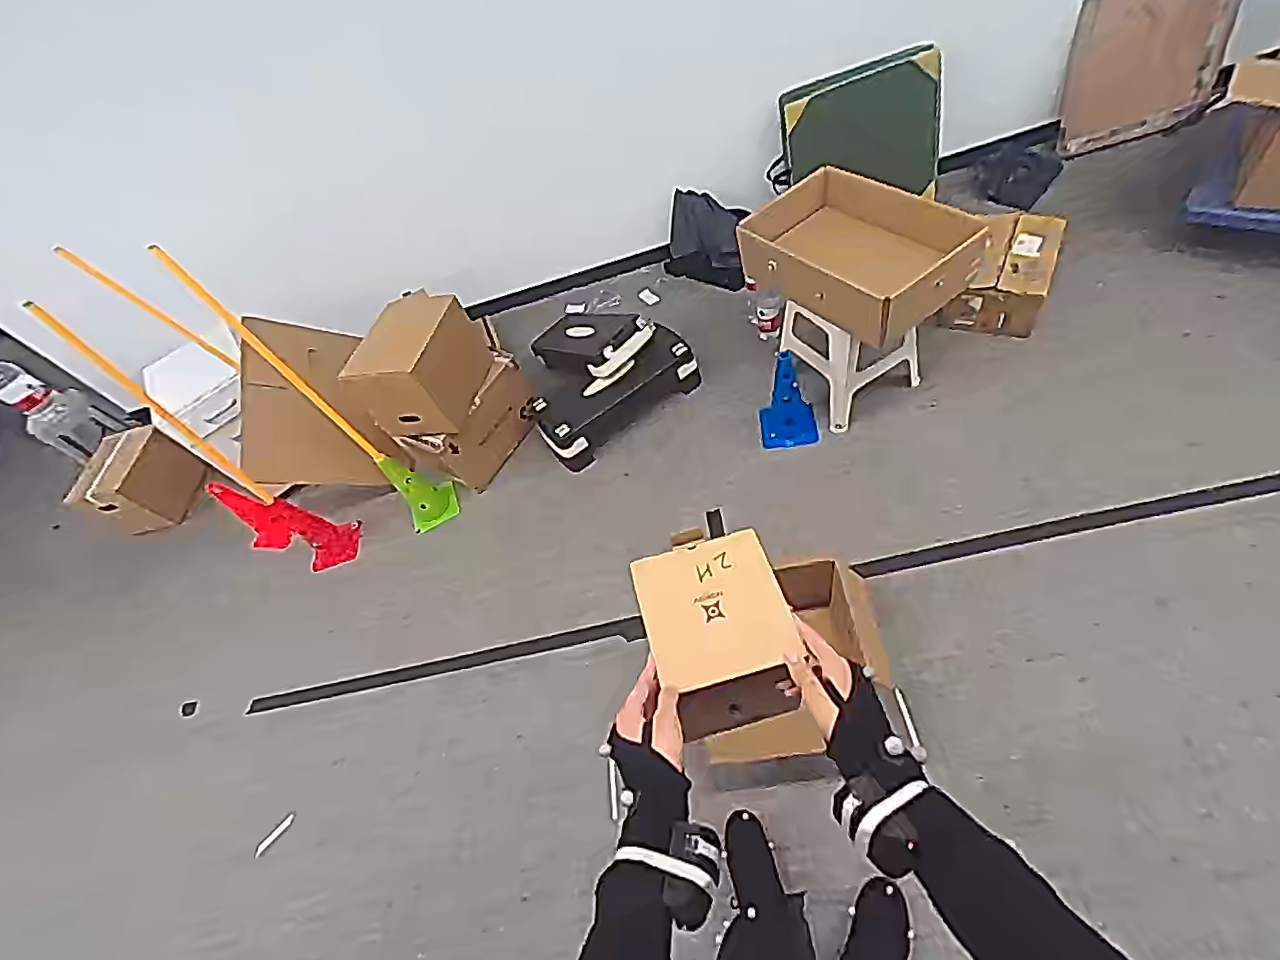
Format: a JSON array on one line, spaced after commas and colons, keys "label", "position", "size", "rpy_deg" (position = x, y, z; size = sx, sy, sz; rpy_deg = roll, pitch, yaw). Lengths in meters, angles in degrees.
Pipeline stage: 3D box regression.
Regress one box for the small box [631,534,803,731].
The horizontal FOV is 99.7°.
[{"label": "small box", "position": [0.096, 0.203, 0.698], "size": [0.168, 0.176, 0.179], "rpy_deg": [-15, 47, -2]}]
